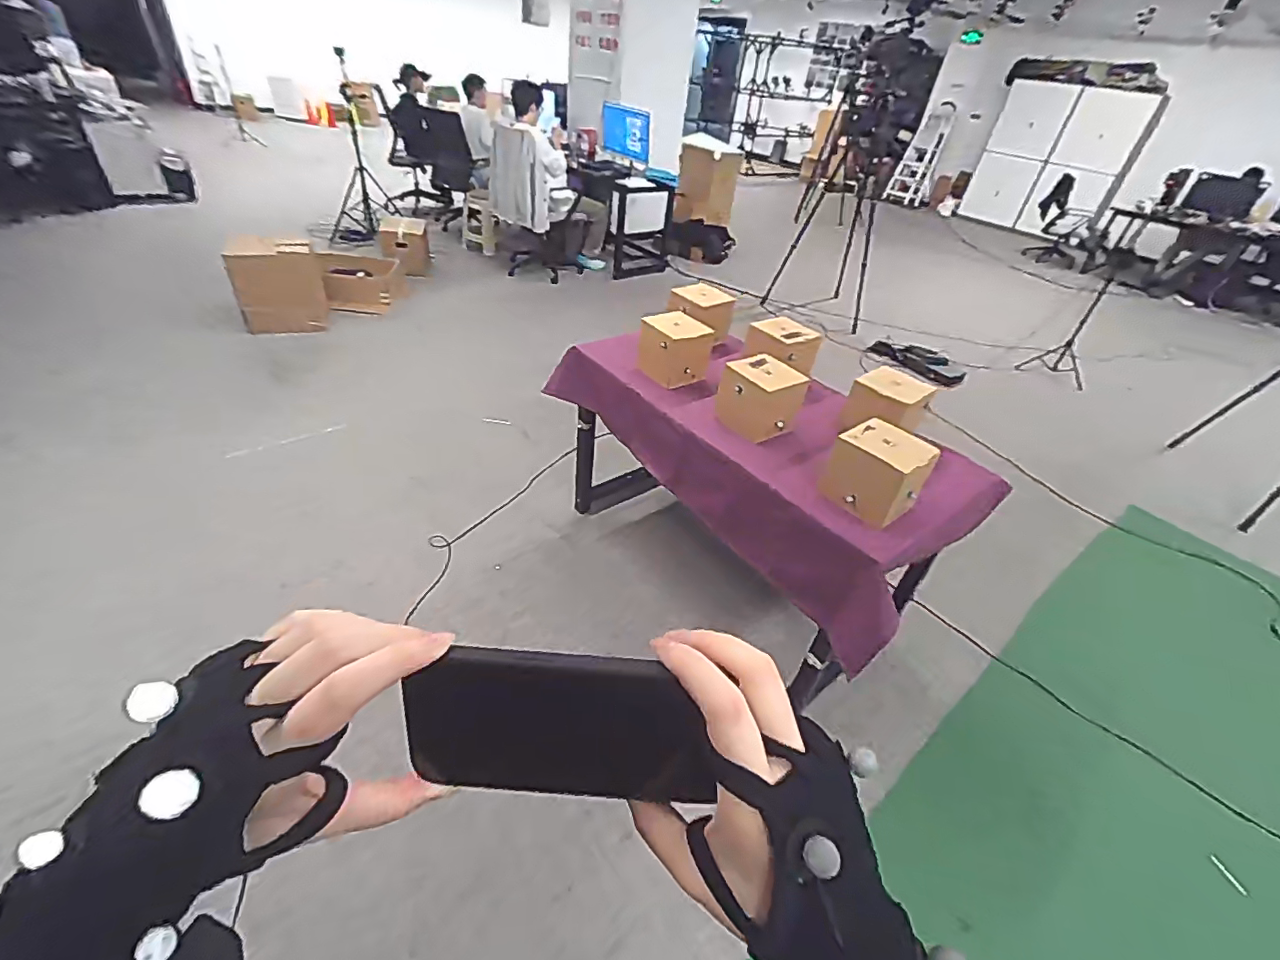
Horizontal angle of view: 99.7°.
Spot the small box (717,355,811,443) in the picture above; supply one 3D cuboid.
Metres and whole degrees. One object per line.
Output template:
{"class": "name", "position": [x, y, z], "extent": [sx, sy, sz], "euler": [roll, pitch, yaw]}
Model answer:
{"class": "small box", "position": [0.340, -0.230, 1.523], "extent": [0.168, 0.176, 0.179], "euler": [-19, 46, -31]}

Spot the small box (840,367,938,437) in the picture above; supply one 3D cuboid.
{"class": "small box", "position": [0.704, -0.198, 1.545], "extent": [0.179, 0.176, 0.168], "euler": [-25, 48, -34]}

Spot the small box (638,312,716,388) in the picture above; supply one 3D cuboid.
{"class": "small box", "position": [0.111, -0.414, 1.719], "extent": [0.168, 0.176, 0.179], "euler": [-21, 47, -32]}

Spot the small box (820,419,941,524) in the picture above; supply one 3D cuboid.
{"class": "small box", "position": [0.564, -0.015, 1.287], "extent": [0.168, 0.176, 0.179], "euler": [-22, 47, -34]}
